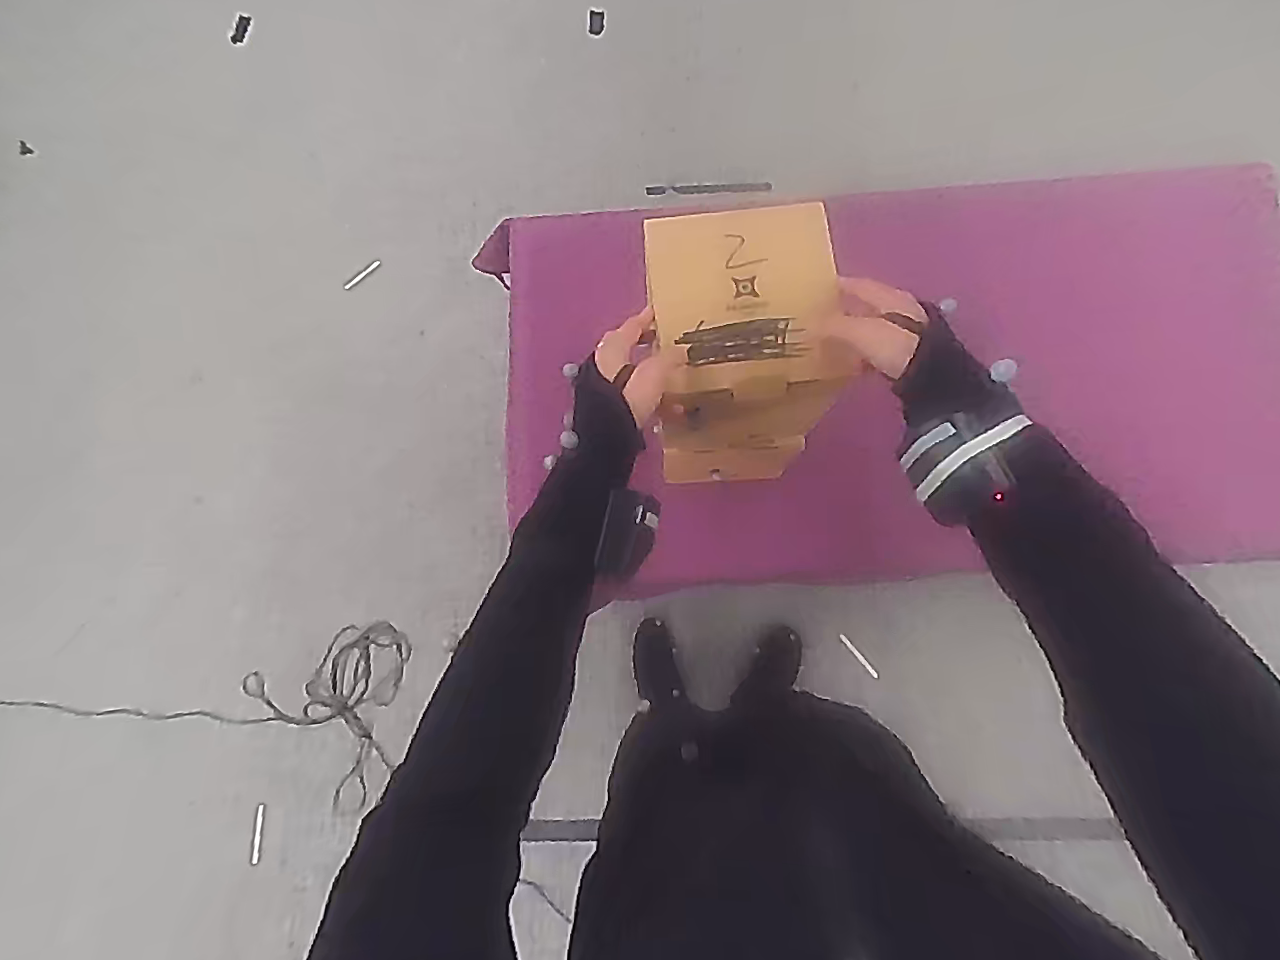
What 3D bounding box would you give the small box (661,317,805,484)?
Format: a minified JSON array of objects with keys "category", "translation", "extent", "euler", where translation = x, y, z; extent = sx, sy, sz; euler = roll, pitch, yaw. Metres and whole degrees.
[{"category":"small box","translation":[0.114,-0.099,0.734],"extent":[0.168,0.176,0.179],"euler":[-3,79,2]}]
